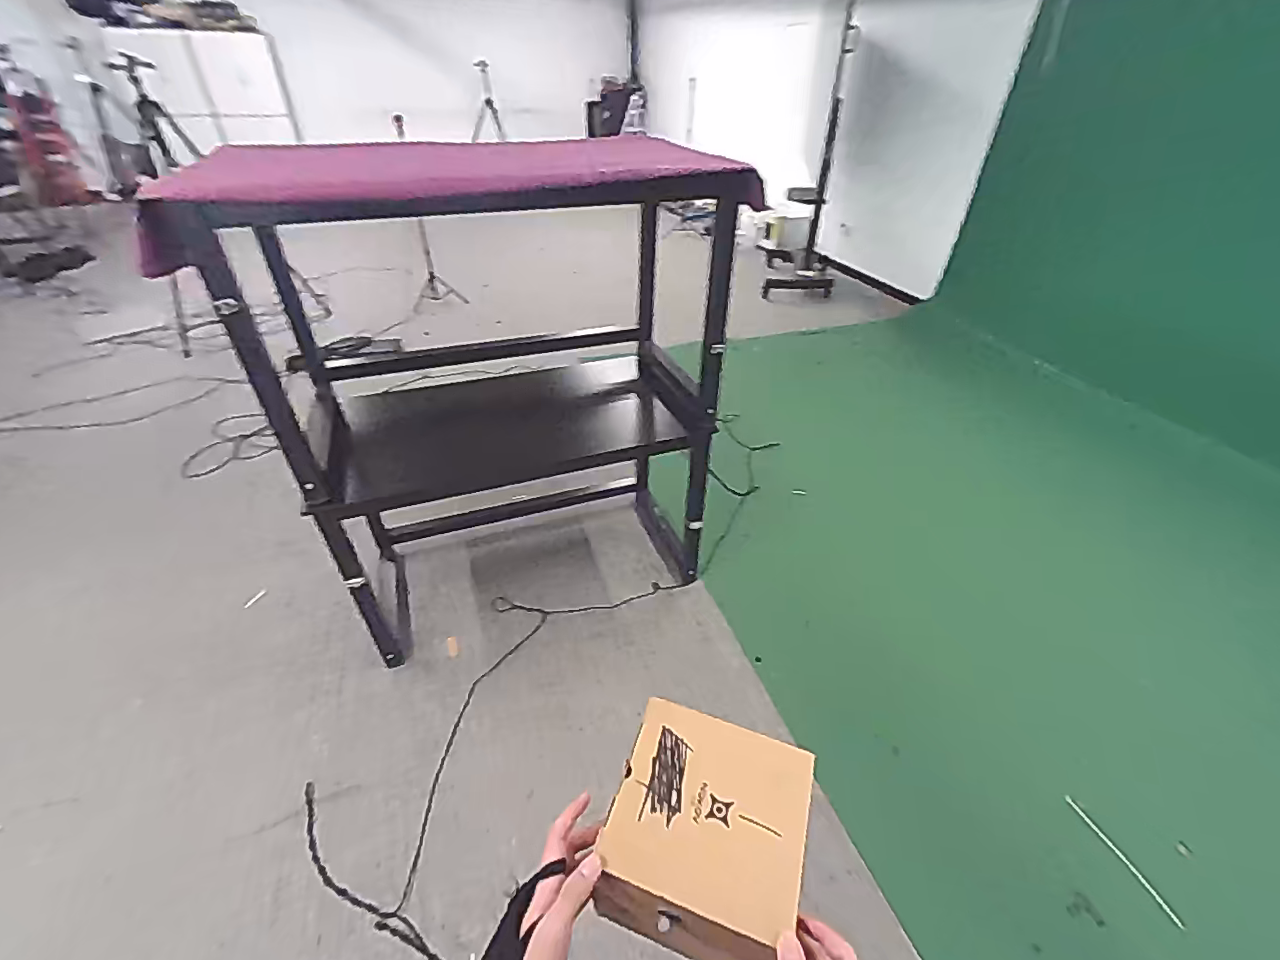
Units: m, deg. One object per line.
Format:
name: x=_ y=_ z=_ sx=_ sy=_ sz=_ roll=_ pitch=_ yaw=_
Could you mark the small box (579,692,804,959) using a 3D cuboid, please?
small box: x=0.051 y=0.357 z=0.550 sx=0.179 sy=0.176 sz=0.168 roll=15 pitch=41 yaw=14
